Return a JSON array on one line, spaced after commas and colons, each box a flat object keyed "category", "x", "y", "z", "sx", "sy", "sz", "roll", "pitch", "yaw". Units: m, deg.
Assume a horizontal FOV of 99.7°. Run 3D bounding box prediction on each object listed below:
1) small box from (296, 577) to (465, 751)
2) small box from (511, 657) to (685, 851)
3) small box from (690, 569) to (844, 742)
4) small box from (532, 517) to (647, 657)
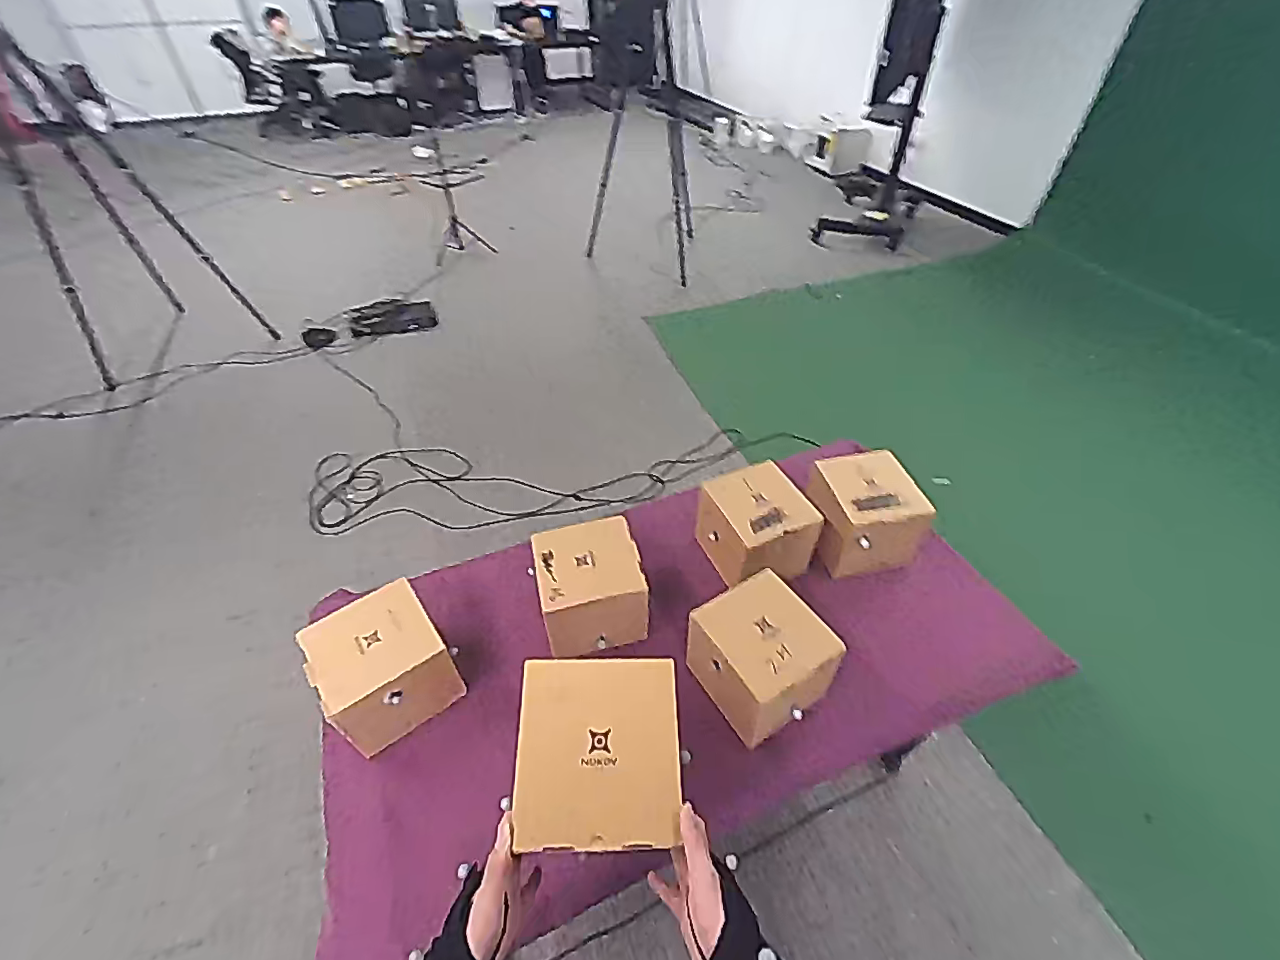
[{"category": "small box", "x": -0.410, "y": 0.300, "z": 0.875, "sx": 0.179, "sy": 0.176, "sz": 0.168, "roll": -29, "pitch": 53, "yaw": -26}, {"category": "small box", "x": -0.046, "y": 0.312, "z": 0.612, "sx": 0.168, "sy": 0.176, "sz": 0.179, "roll": 2, "pitch": 58, "yaw": -5}, {"category": "small box", "x": 0.192, "y": 0.285, "z": 0.881, "sx": 0.168, "sy": 0.176, "sz": 0.179, "roll": -24, "pitch": 48, "yaw": -21}, {"category": "small box", "x": -0.091, "y": 0.195, "z": 0.977, "sx": 0.179, "sy": 0.176, "sz": 0.168, "roll": -10, "pitch": 46, "yaw": -10}]
